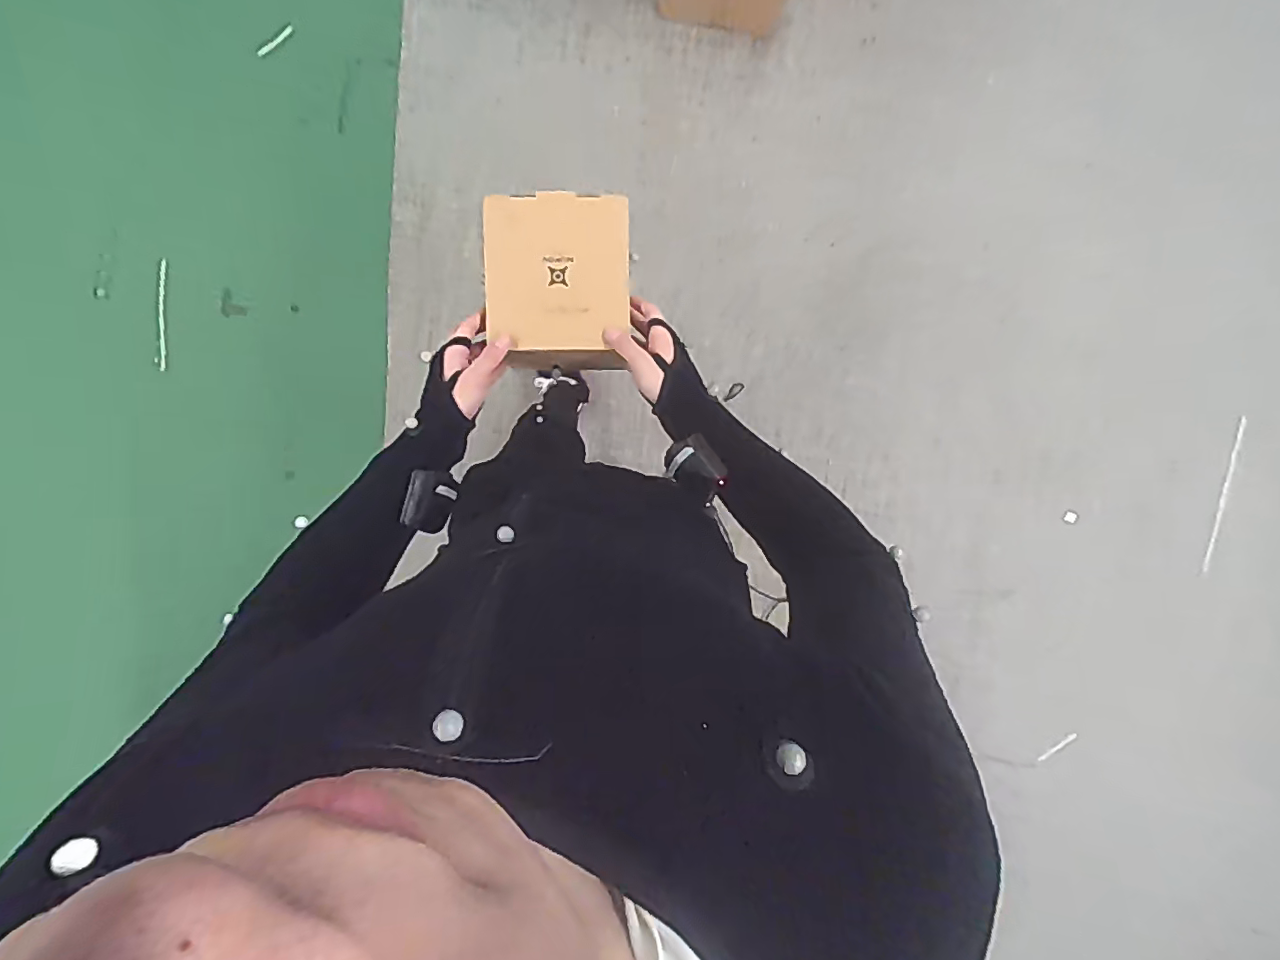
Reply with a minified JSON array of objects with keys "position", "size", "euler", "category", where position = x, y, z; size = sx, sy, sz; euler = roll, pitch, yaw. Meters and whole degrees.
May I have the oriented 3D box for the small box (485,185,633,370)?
[{"position":[-0.096,-0.242,0.685],"size":[0.168,0.176,0.179],"euler":[0,93,-3],"category":"small box"}]
